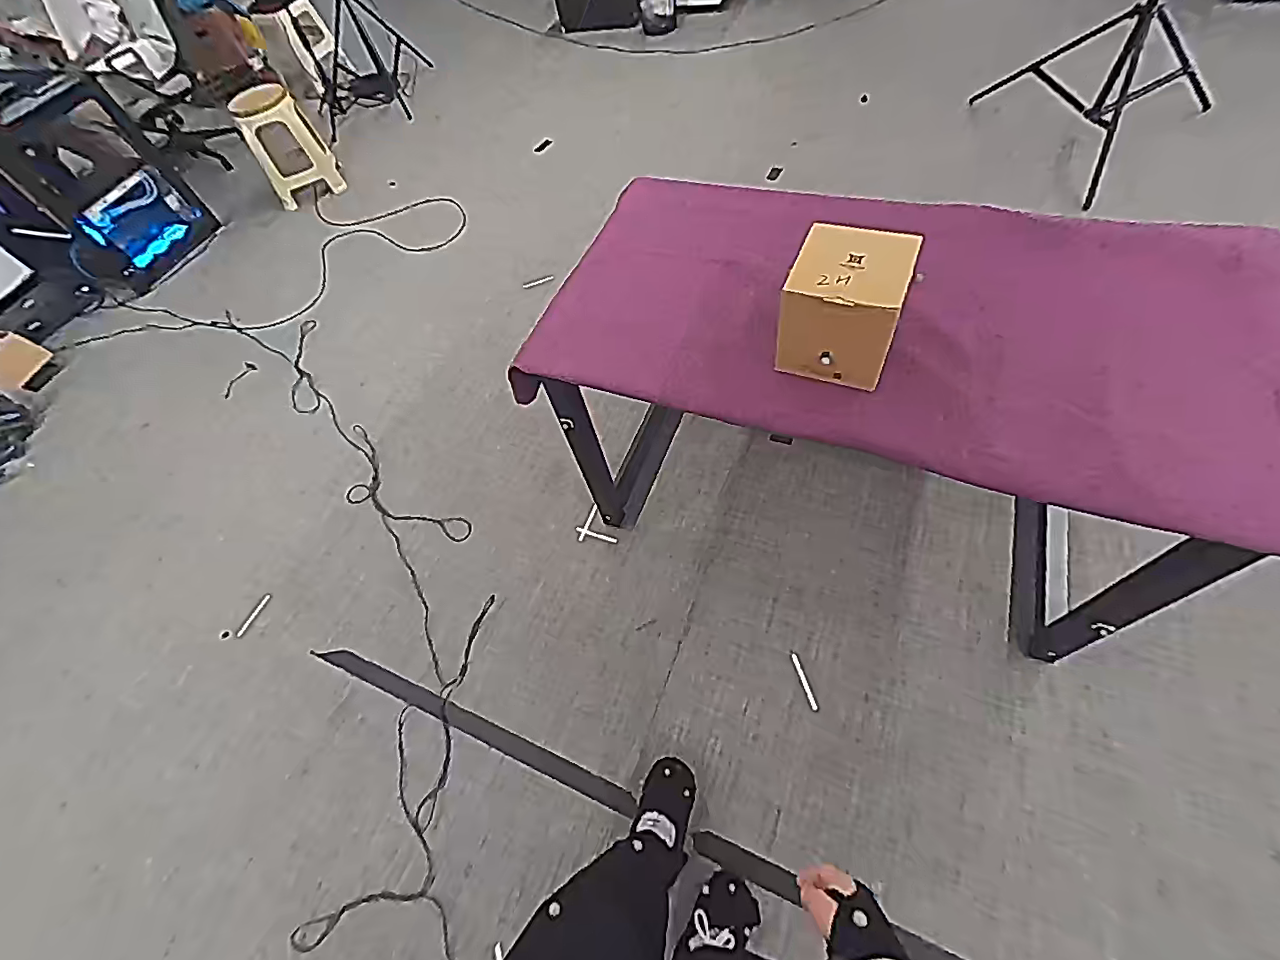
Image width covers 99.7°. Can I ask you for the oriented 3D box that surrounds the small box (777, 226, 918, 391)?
[{"bbox_3d":[0.326,-0.275,0.874,0.168,0.176,0.179,17,62,20],"label":"small box"}]
